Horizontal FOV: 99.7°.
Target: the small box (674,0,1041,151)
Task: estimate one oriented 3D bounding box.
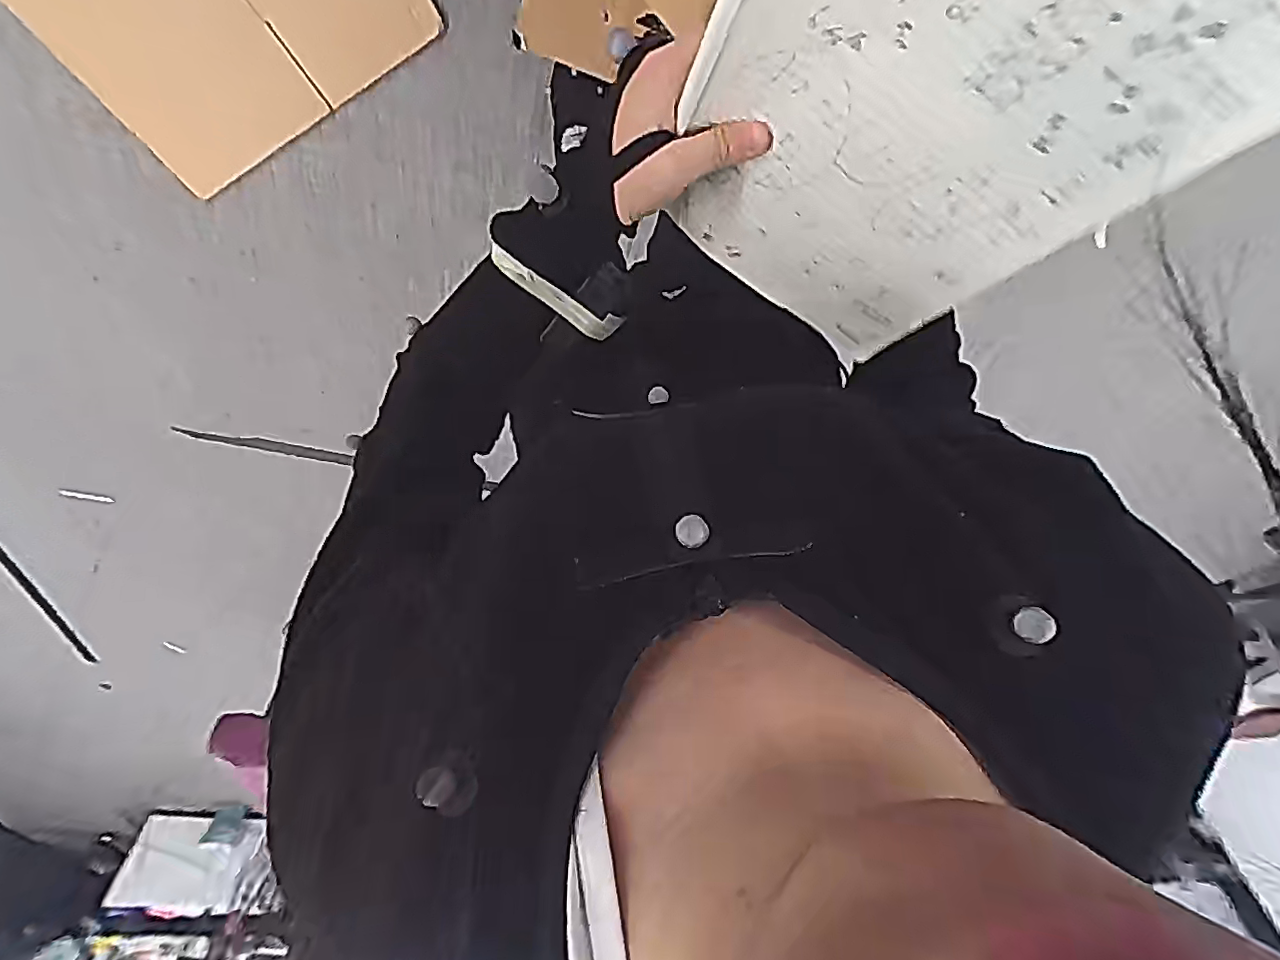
[{"bbox_3d":[0.125,-0.315,0.282,0.168,0.176,0.179,-25,167,-29],"label":"small box"}]

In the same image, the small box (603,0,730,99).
[{"bbox_3d":[0.049,-0.637,0.708,0.168,0.176,0.179,8,133,-11],"label":"small box"}]
